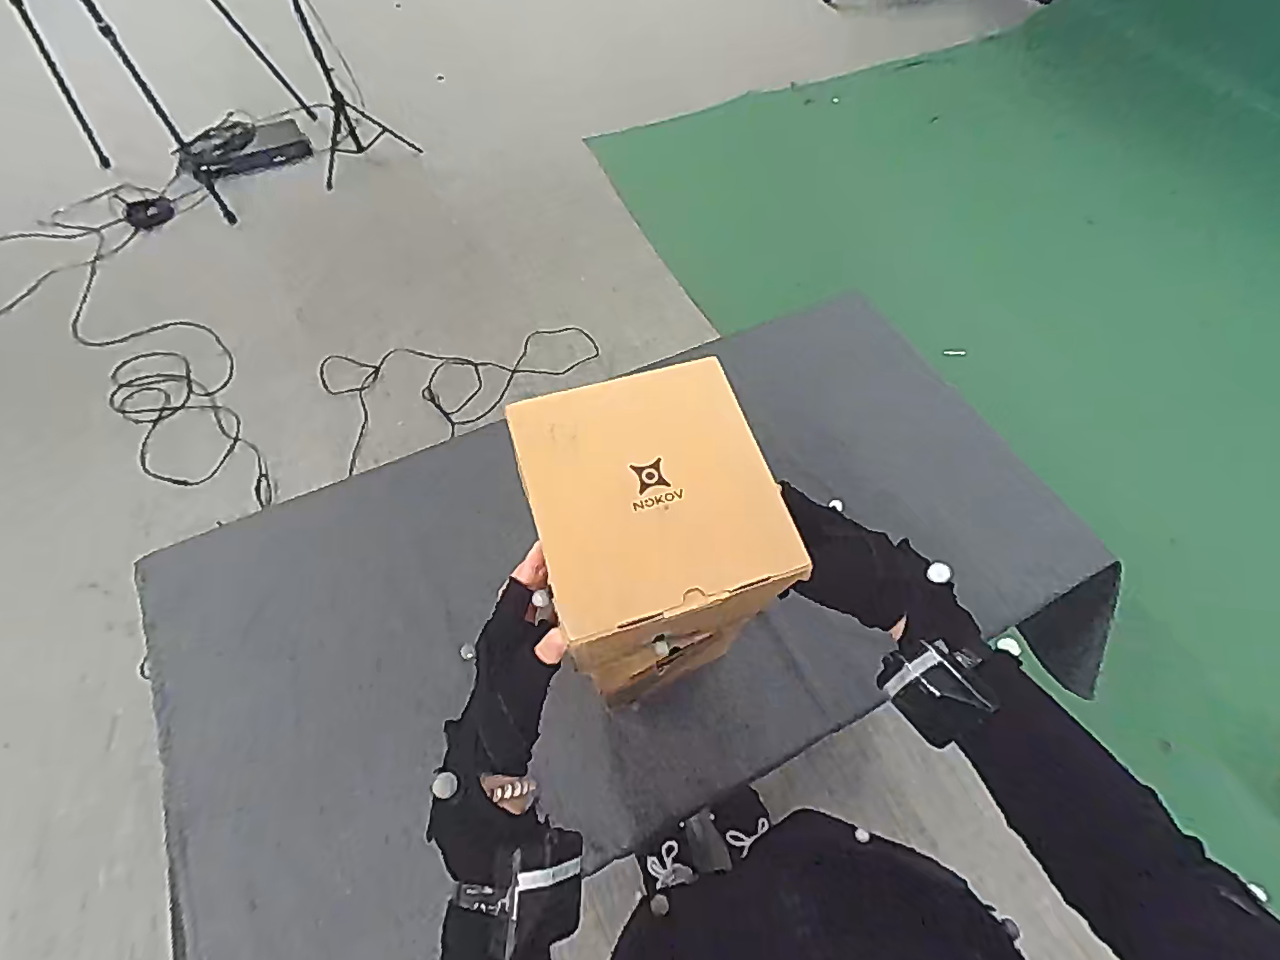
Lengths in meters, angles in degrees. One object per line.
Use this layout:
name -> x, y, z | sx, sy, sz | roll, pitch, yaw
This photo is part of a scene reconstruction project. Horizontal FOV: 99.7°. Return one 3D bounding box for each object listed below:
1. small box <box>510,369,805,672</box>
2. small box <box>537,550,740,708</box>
small box -> 0.000, 0.041, 0.444 | 0.168, 0.176, 0.179 | -15, 67, -11
small box -> -0.003, 0.153, 0.645 | 0.168, 0.176, 0.179 | -24, 62, -13
